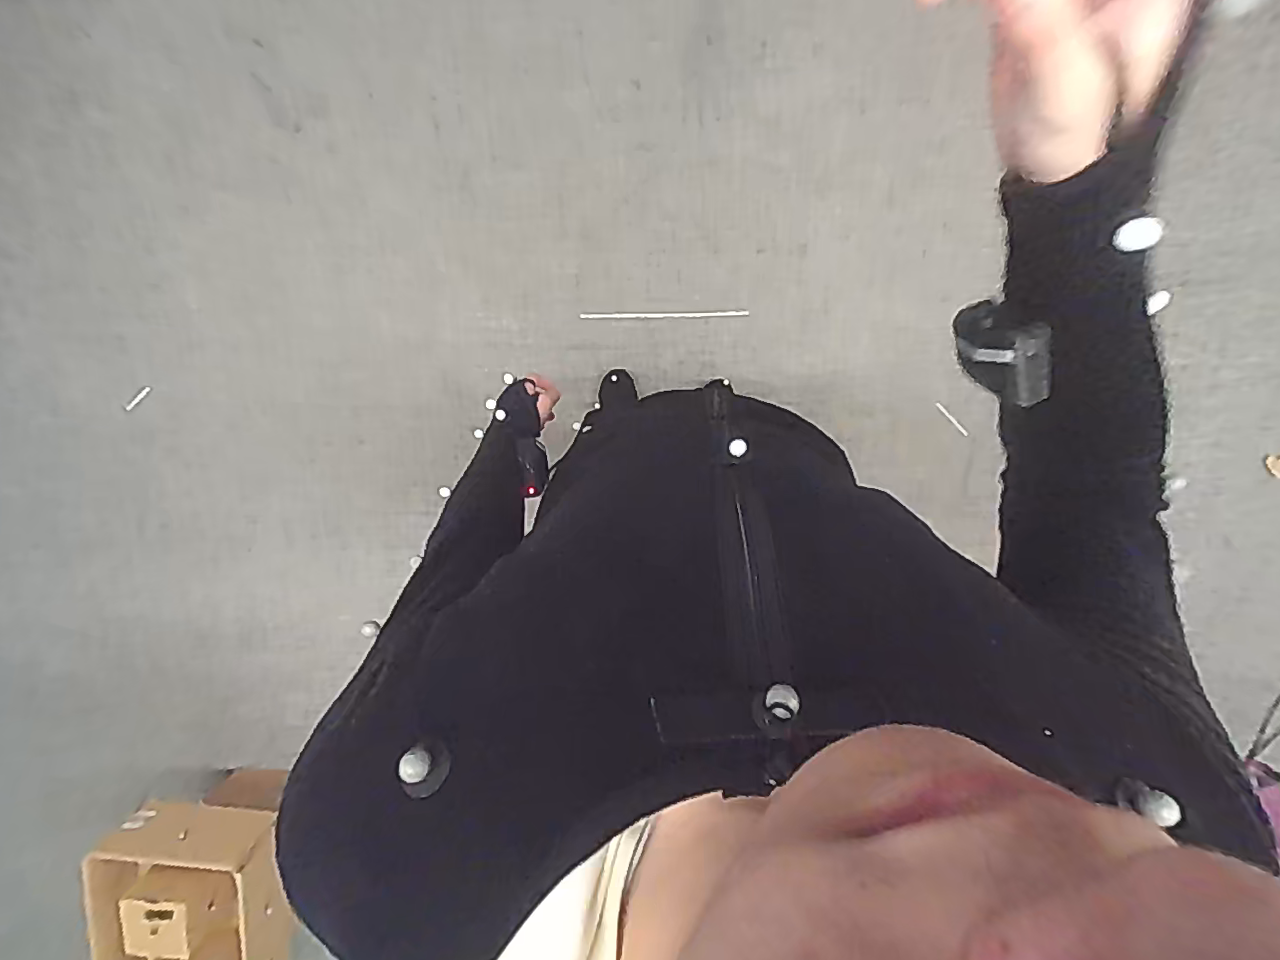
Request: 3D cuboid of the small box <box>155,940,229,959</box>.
[{"bbox_3d":[-1.247,1.399,1.456,0.168,0.176,0.179,4,101,-1],"label":"small box"}]
